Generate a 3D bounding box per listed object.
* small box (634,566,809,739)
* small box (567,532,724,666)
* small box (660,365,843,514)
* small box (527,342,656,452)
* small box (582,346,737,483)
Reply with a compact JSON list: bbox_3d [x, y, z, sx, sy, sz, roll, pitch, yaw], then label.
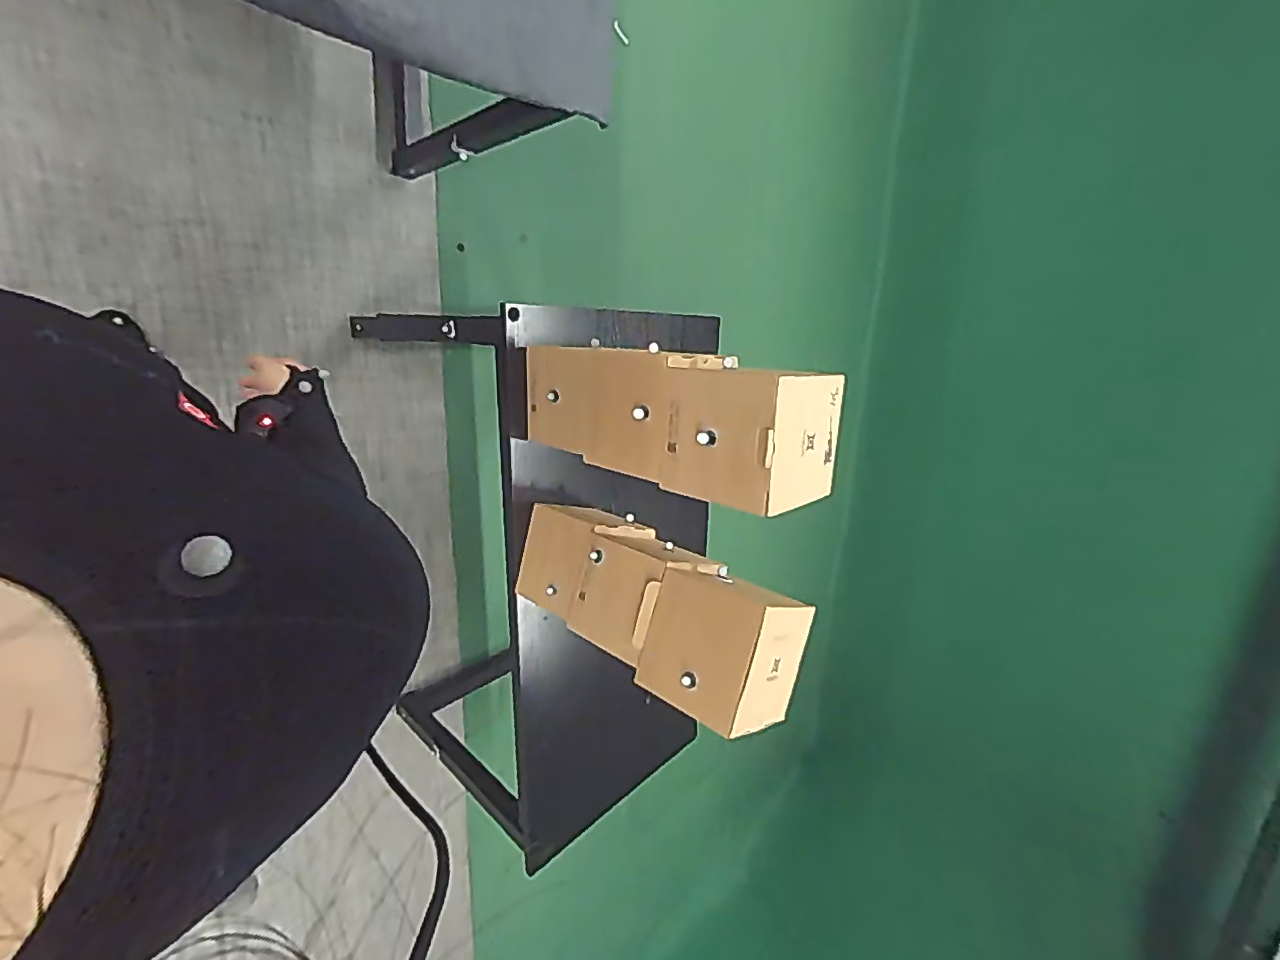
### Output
[{"bbox_3d":[0.115,0.238,0.782,0.168,0.176,0.179,16,90,-50],"label":"small box"},{"bbox_3d":[0.006,0.189,0.894,0.179,0.176,0.168,13,93,-50],"label":"small box"},{"bbox_3d":[0.142,-0.063,0.716,0.179,0.176,0.168,-11,109,-45],"label":"small box"},{"bbox_3d":[-0.081,-0.150,0.939,0.179,0.176,0.168,-13,113,-45],"label":"small box"},{"bbox_3d":[0.025,-0.107,0.822,0.168,0.176,0.179,-13,111,-45],"label":"small box"}]
